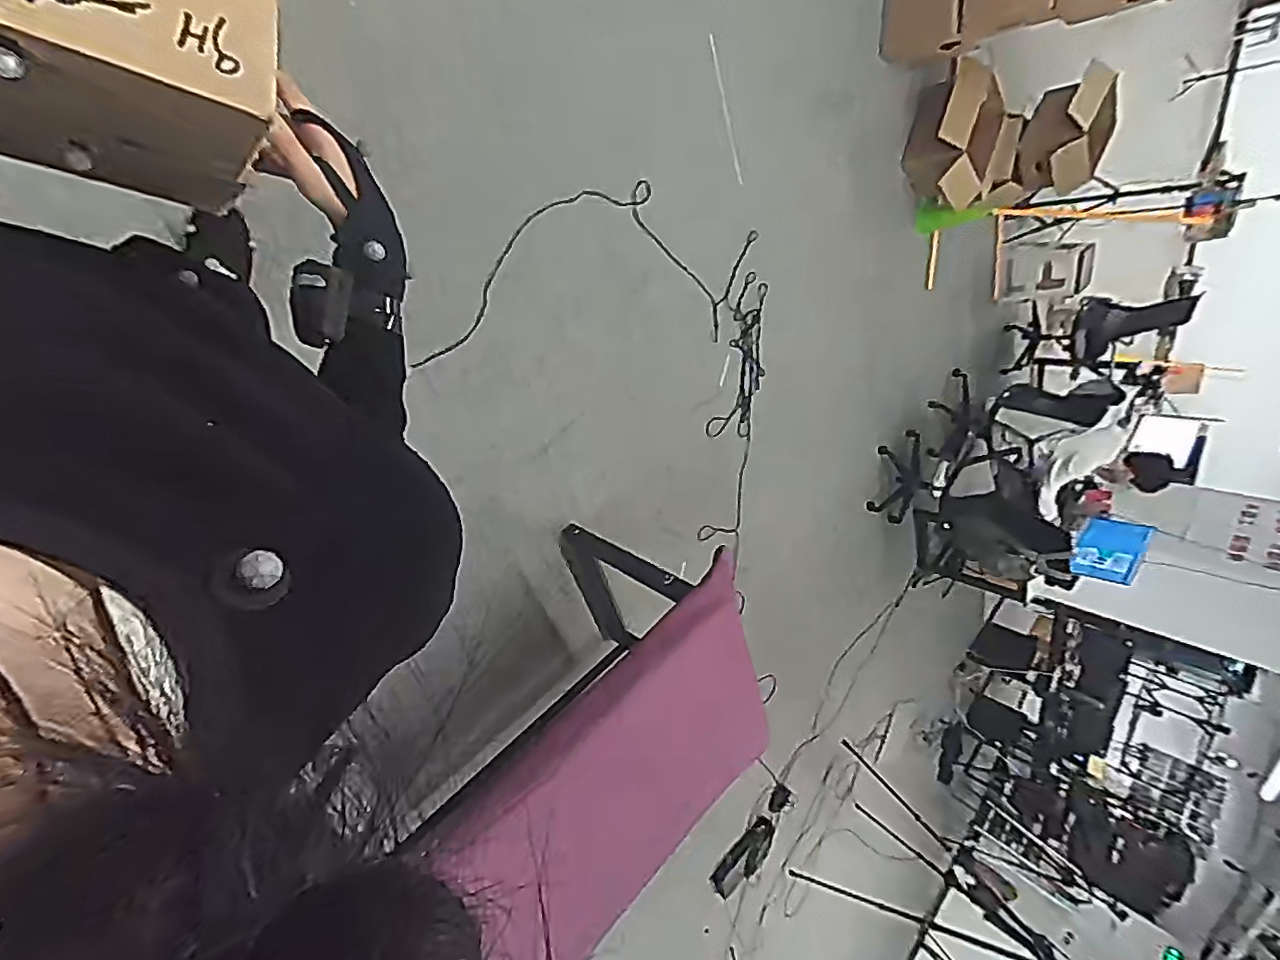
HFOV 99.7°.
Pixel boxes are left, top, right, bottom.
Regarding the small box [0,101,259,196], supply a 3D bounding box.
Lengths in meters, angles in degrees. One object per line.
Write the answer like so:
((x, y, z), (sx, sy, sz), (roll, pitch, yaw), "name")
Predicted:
((-0.400, -0.333, 0.407), (0.179, 0.176, 0.168), (2, 102, -42), "small box")

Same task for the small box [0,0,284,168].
((-0.296, -0.299, 0.284), (0.168, 0.176, 0.179), (0, 103, -41), "small box")
